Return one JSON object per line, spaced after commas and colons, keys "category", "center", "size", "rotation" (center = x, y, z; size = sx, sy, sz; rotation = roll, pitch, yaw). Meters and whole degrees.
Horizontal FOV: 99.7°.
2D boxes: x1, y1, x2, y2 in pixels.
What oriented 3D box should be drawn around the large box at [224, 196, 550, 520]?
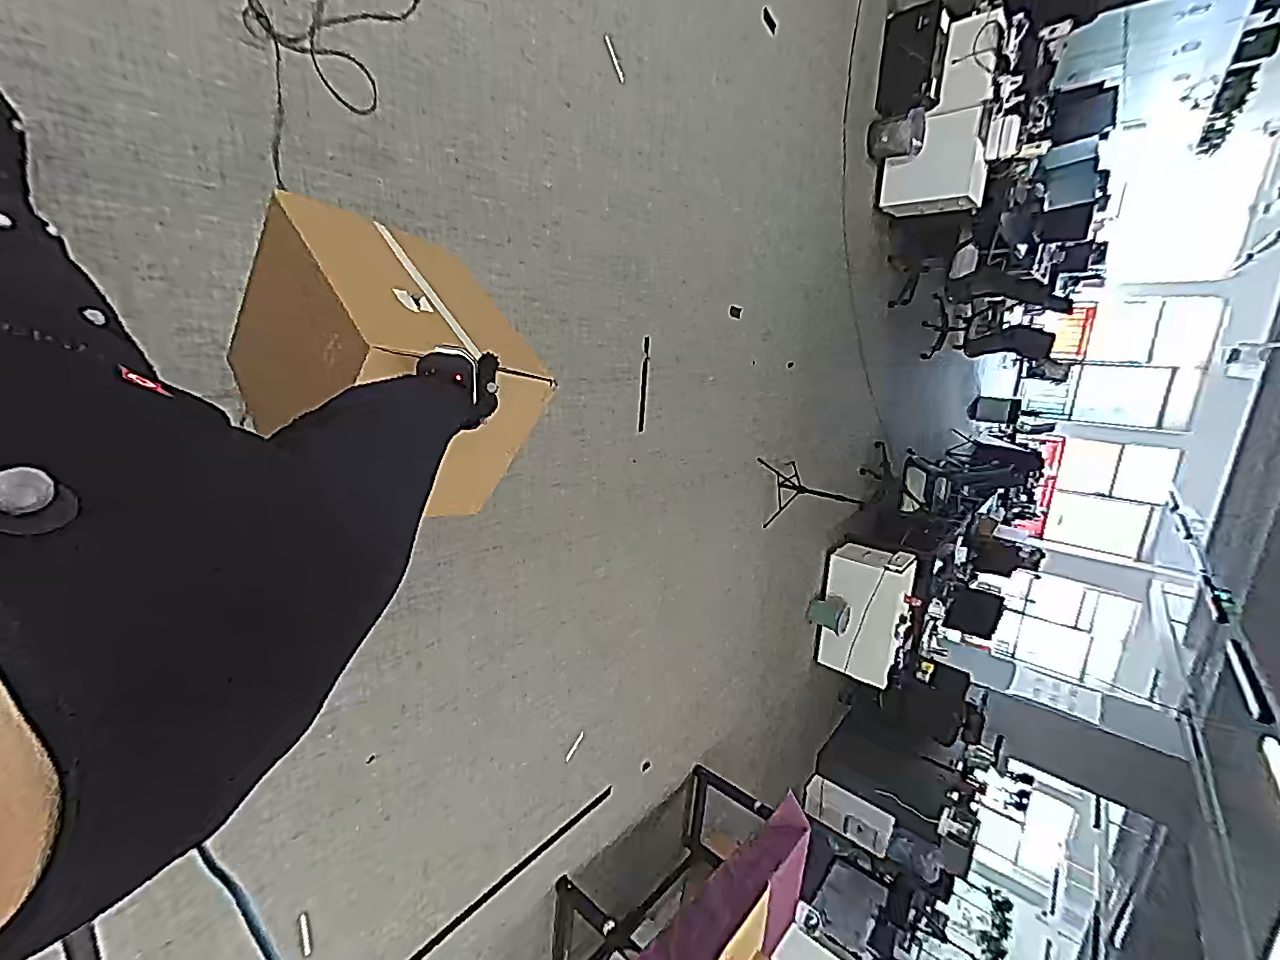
{"category": "large box", "center": [-0.437, -0.186, 0.920], "size": [0.320, 0.408, 0.320], "rotation": [-1, 136, -54]}
